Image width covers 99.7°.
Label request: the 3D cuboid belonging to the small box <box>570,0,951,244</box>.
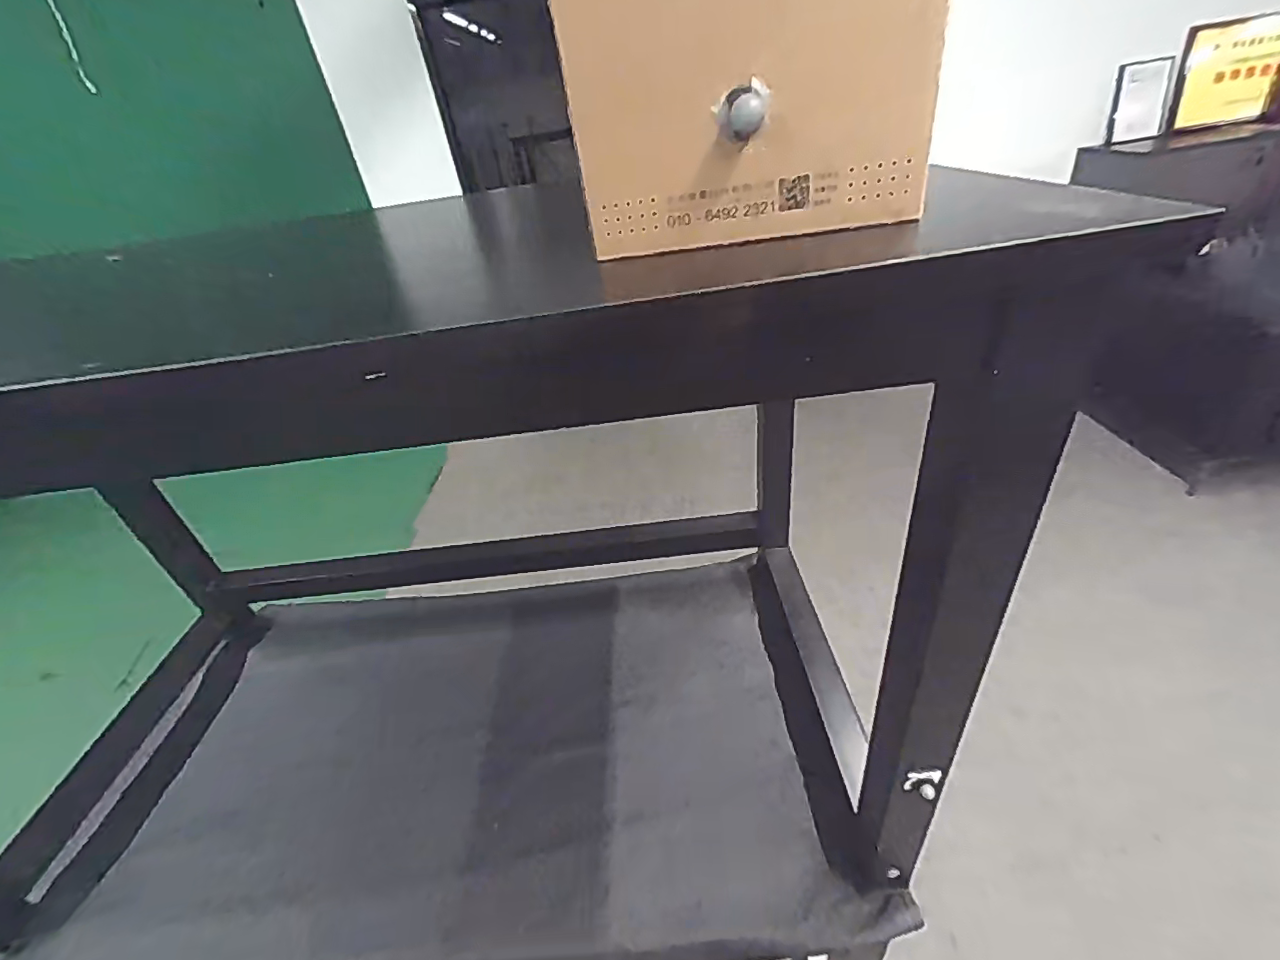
[{"bbox_3d":[0.059,-0.241,0.304,0.168,0.176,0.179,-3,34,10],"label":"small box"}]
